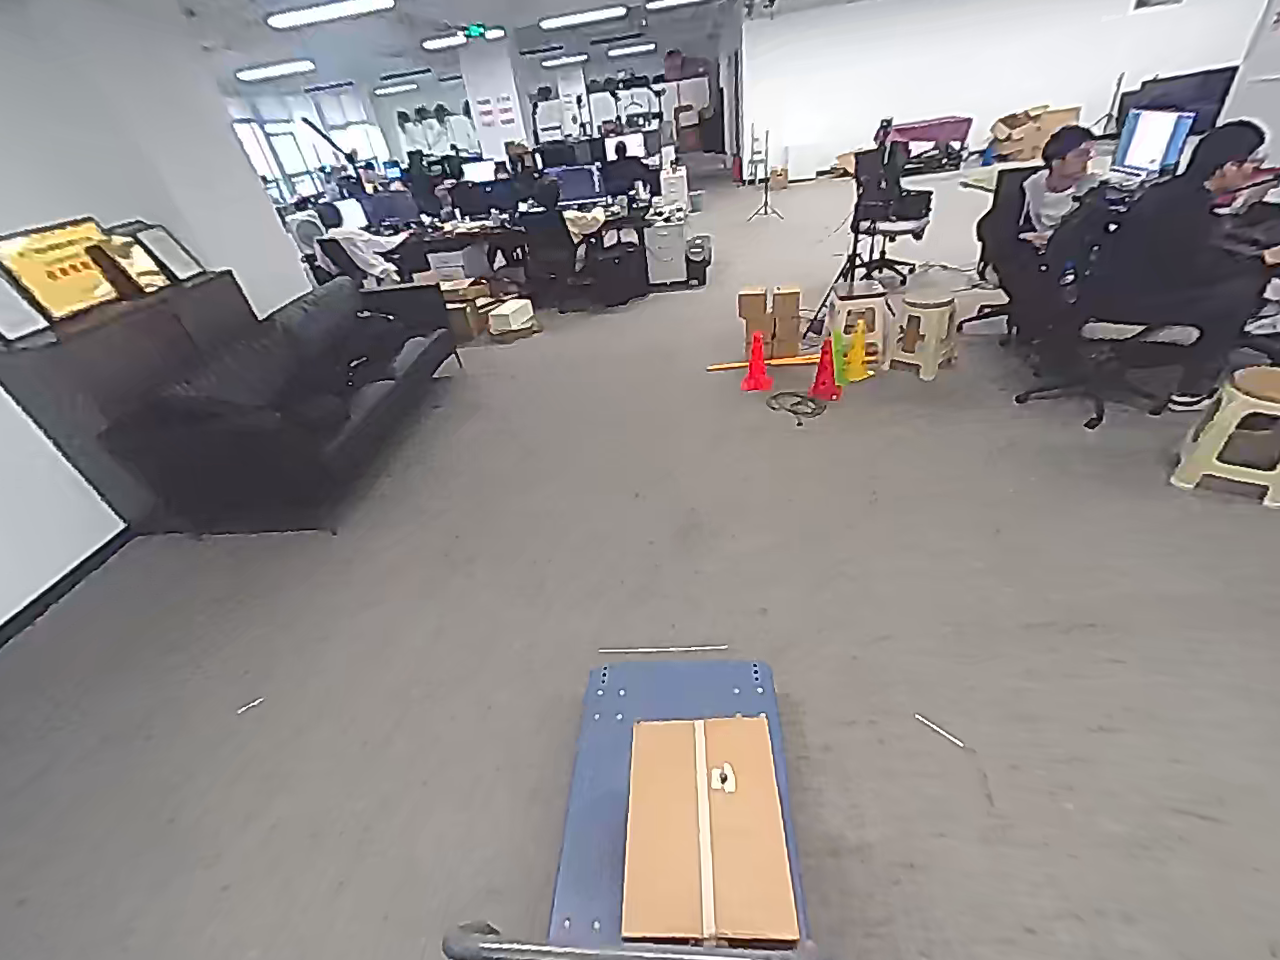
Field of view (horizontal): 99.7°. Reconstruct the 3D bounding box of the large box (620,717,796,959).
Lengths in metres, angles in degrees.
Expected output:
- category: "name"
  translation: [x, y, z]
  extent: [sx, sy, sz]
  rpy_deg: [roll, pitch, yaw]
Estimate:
- category: "large box"
  translation: [0.143, 0.793, 1.180]
  extent: [0.320, 0.320, 0.408]
  rpy_deg: [-4, 35, 6]
